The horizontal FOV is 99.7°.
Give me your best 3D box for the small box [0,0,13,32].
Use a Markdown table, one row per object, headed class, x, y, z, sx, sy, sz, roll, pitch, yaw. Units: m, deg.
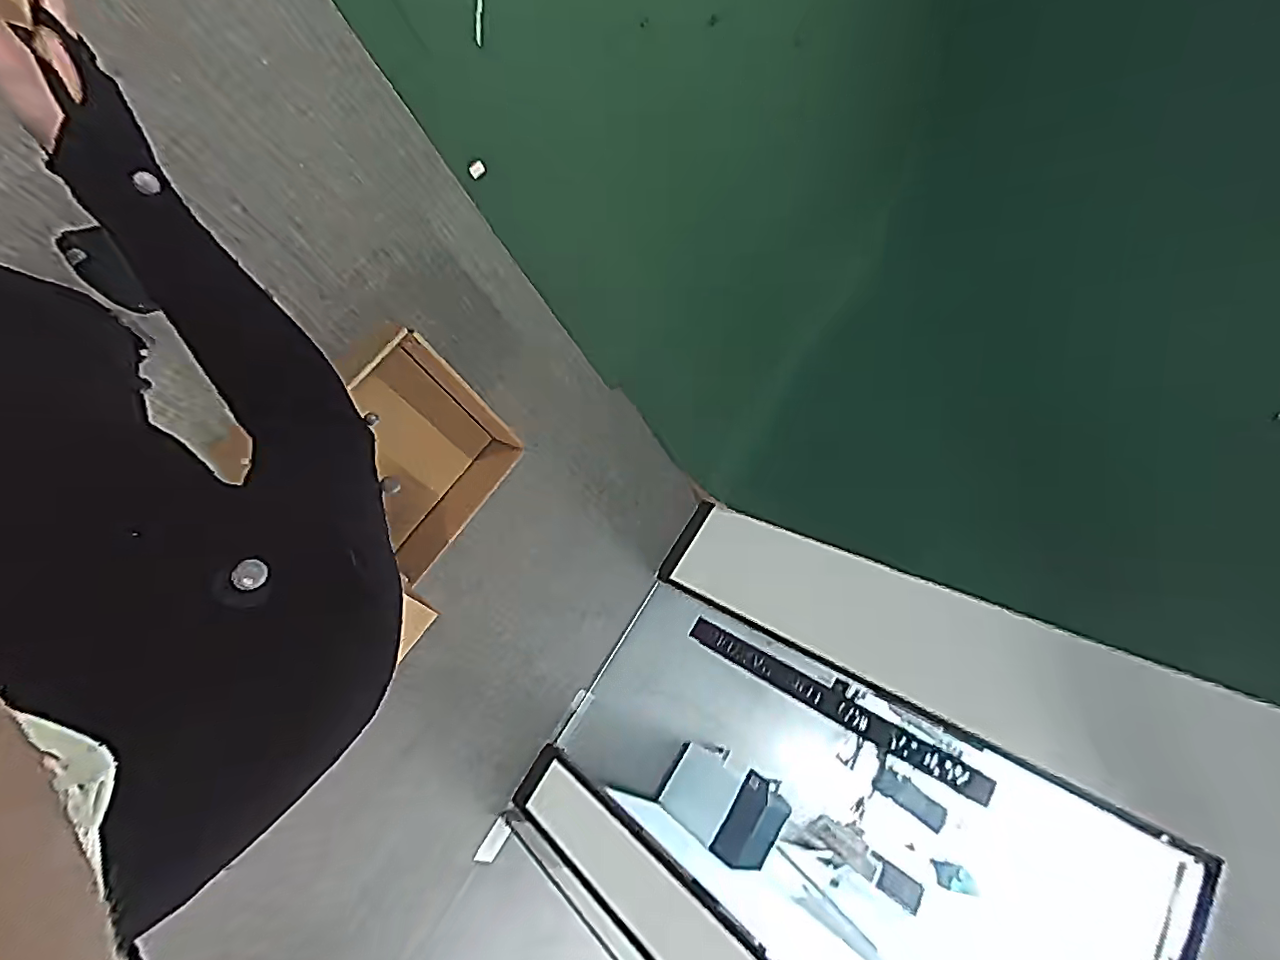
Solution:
| class | x | y | z | sx | sy | sz | roll | pitch | yaw |
| --- | --- | --- | --- | --- | --- | --- | --- | --- | --- |
| small box | -0.522 | -0.404 | 0.325 | 0.179 | 0.176 | 0.168 | -11 | 119 | -48 |
